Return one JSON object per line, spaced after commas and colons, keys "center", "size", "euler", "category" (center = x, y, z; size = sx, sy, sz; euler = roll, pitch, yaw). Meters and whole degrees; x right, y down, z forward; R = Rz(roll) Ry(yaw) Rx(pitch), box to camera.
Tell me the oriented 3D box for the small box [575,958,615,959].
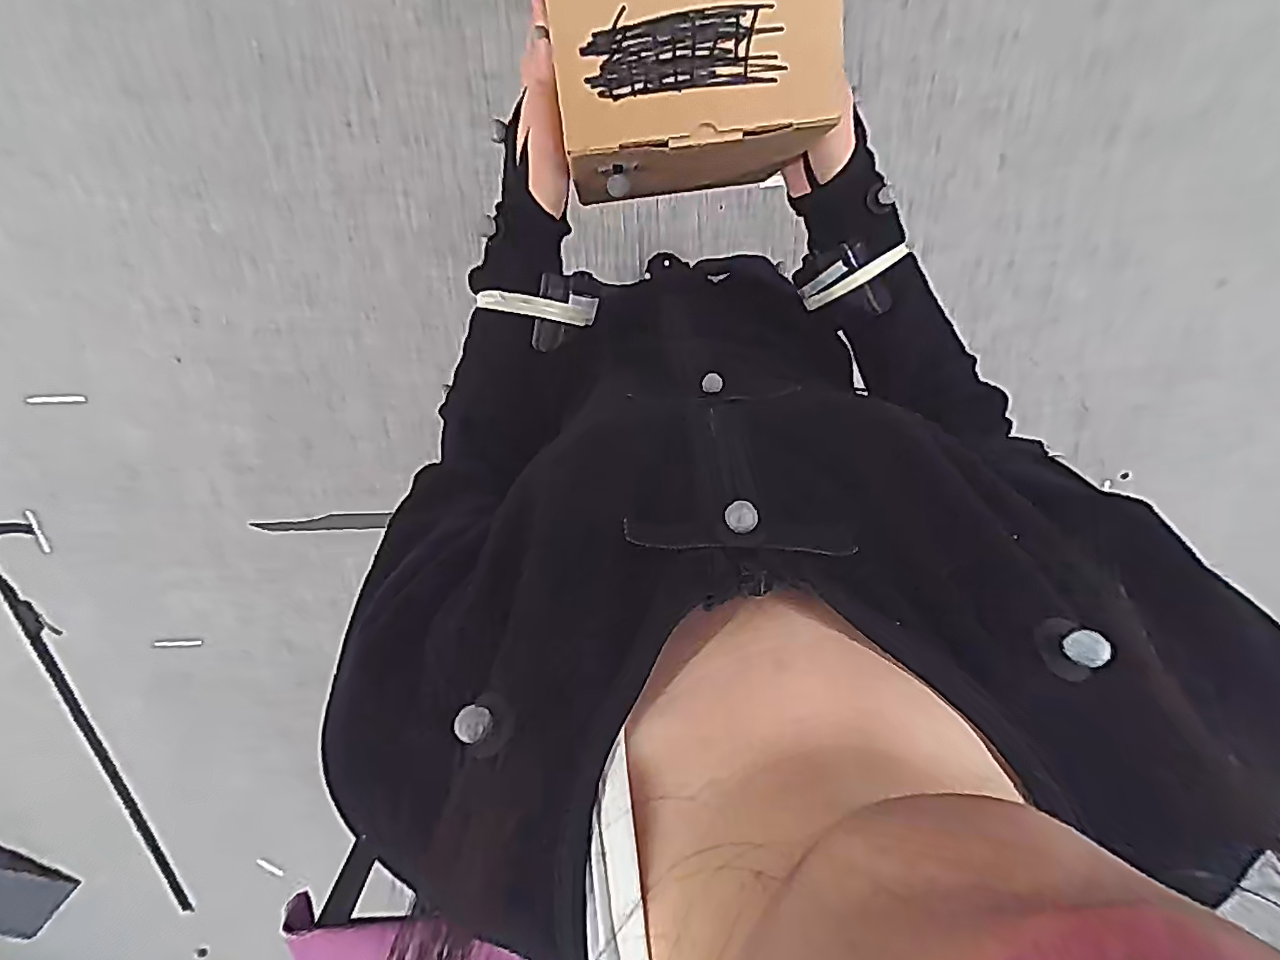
{"center": [-0.076, 1.148, 1.130], "size": [0.168, 0.176, 0.179], "euler": [0, 113, -1], "category": "small box"}
